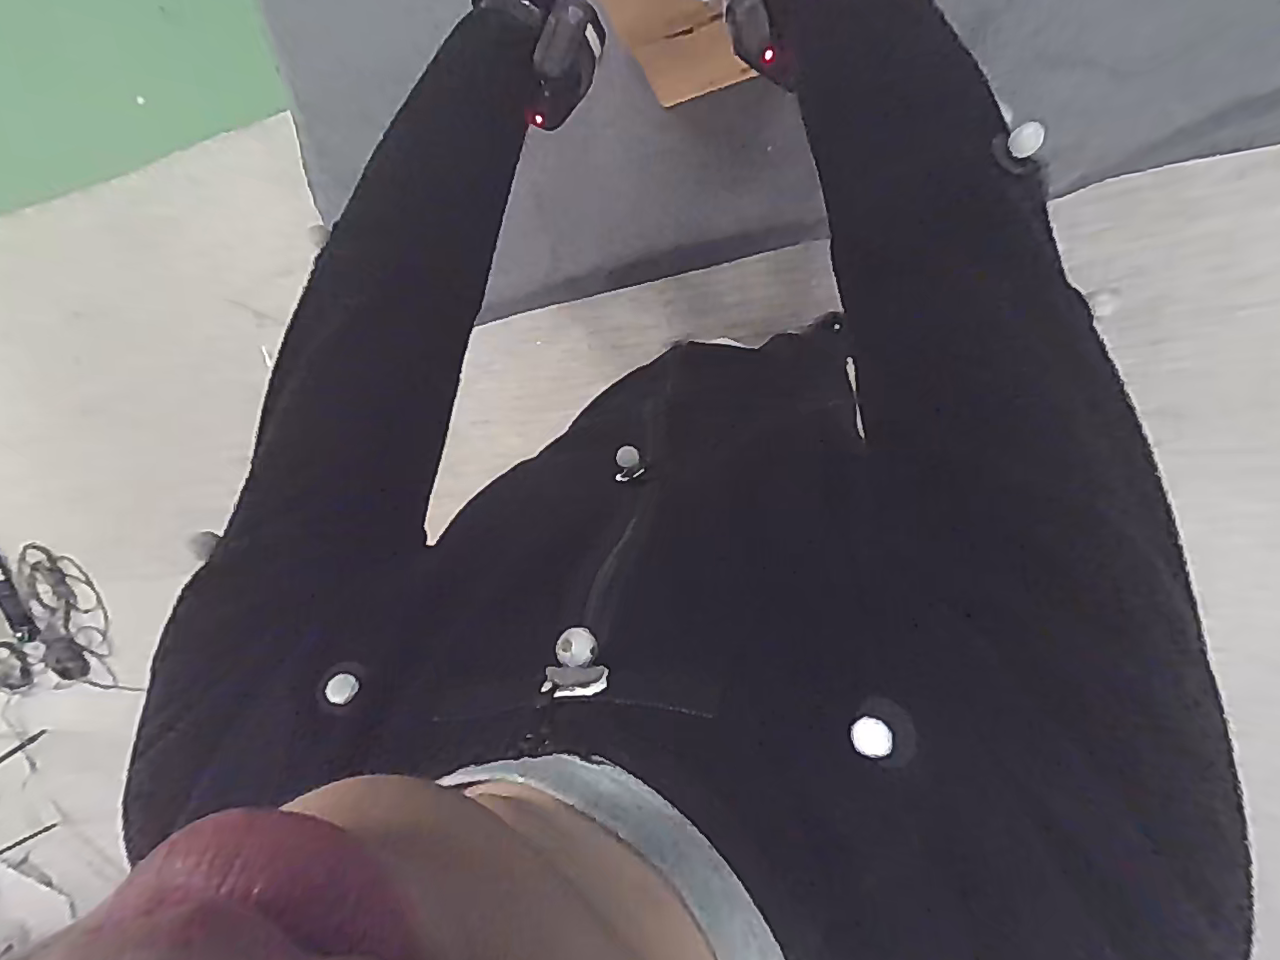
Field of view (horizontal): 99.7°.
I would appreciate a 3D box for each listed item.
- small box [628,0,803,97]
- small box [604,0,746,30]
[{"bbox_3d":[0.069,-0.521,0.544,0.168,0.176,0.179,-9,106,14],"label":"small box"},{"bbox_3d":[0.033,-0.473,0.394,0.168,0.176,0.179,-8,109,13],"label":"small box"}]
